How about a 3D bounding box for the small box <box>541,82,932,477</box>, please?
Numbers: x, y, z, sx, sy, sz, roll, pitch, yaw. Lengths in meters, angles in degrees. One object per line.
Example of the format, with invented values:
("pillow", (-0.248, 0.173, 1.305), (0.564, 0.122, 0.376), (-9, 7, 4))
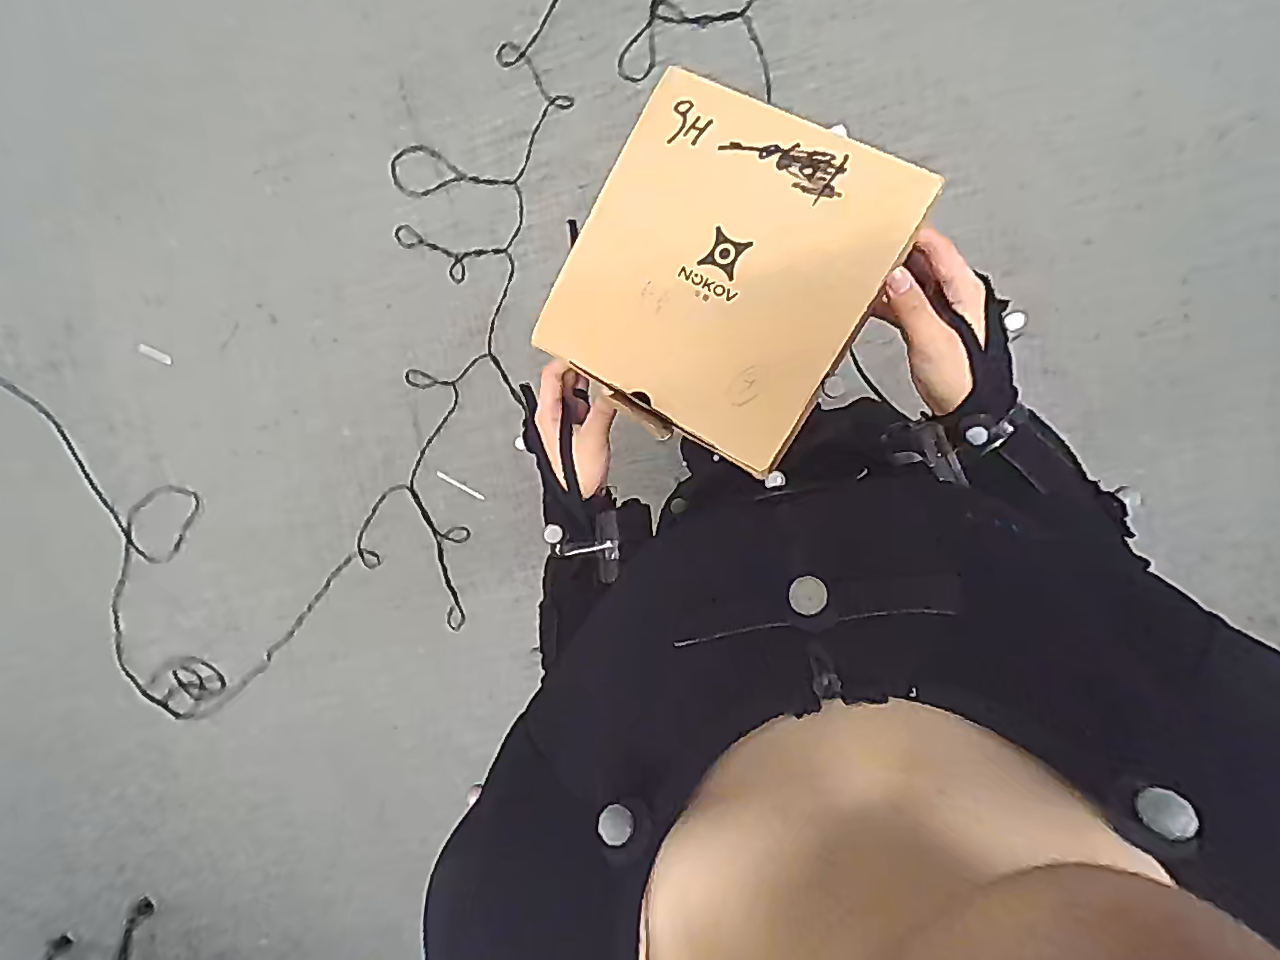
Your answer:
("small box", (0.067, -0.118, 0.385), (0.168, 0.176, 0.179), (32, 100, 12))
